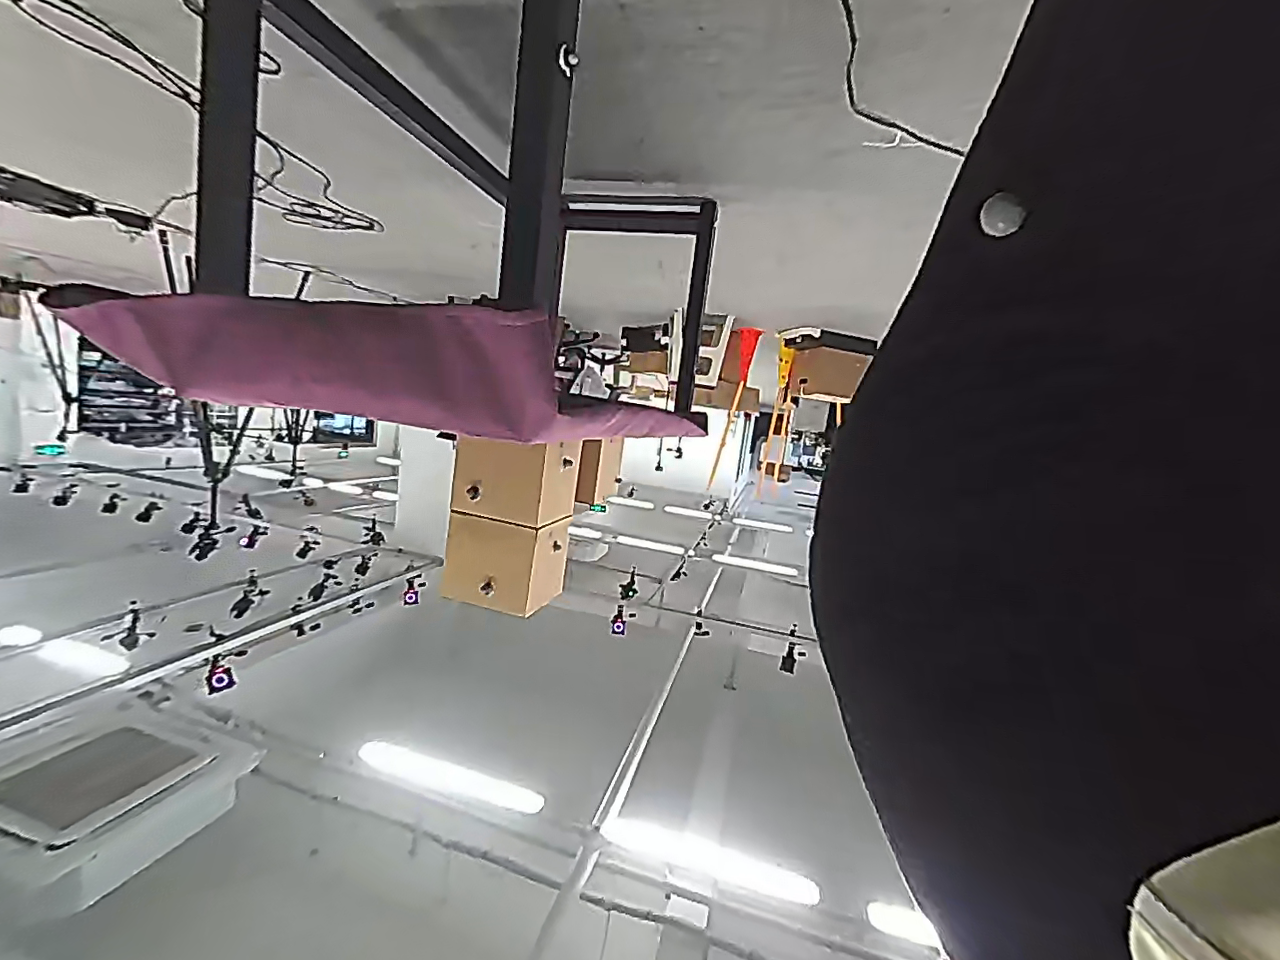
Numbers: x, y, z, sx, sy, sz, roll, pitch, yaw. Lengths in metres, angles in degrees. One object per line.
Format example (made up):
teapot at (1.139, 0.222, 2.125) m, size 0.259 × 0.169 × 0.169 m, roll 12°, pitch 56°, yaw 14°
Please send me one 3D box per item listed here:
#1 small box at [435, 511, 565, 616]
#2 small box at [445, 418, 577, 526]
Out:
small box at (-0.258, 0.136, 1.027) m, size 0.179 × 0.176 × 0.168 m, roll 10°, pitch -173°, yaw 14°
small box at (-0.233, -0.023, 1.005) m, size 0.179 × 0.176 × 0.168 m, roll 10°, pitch -172°, yaw 13°
